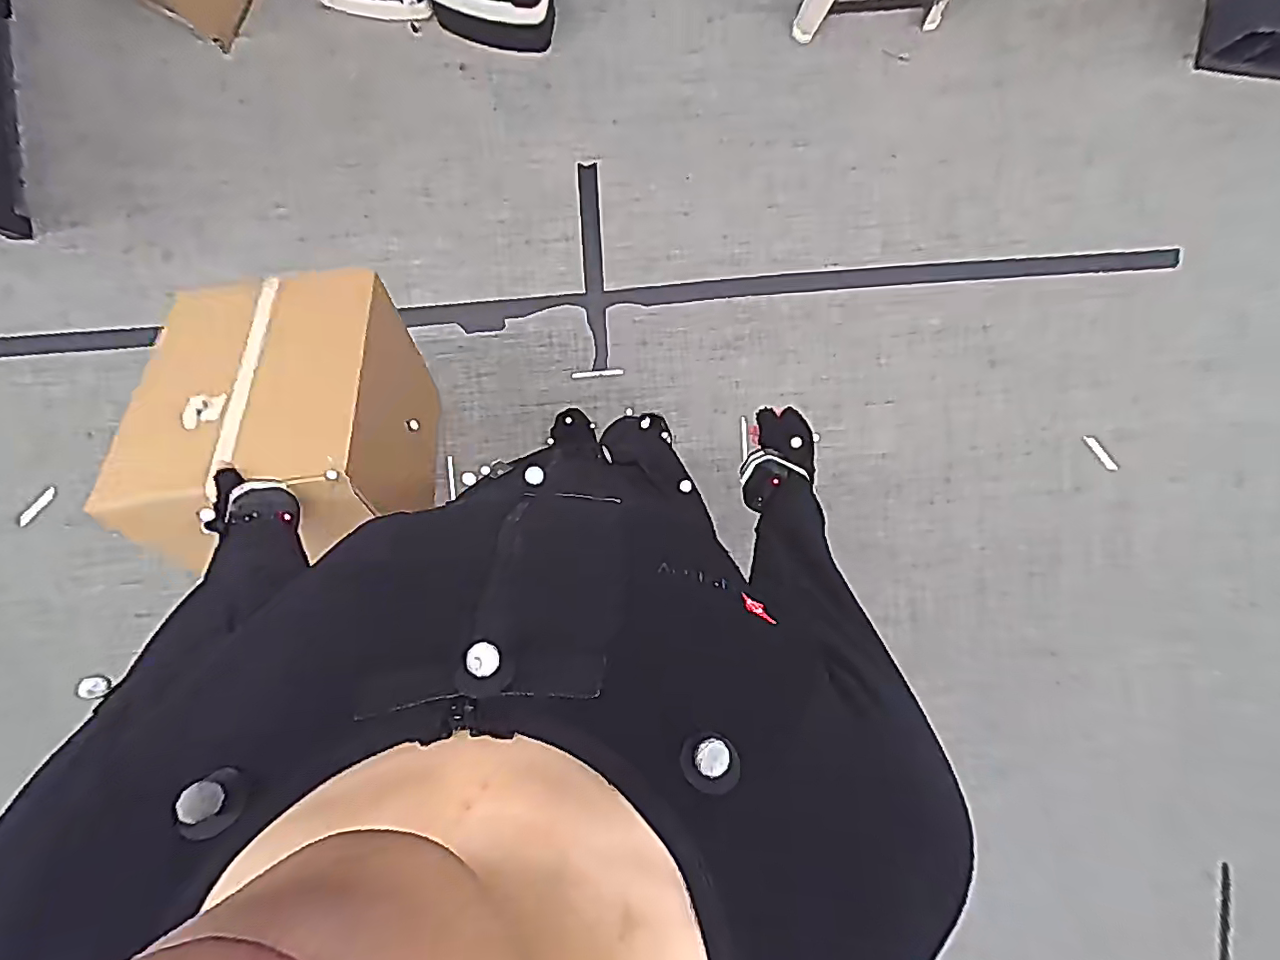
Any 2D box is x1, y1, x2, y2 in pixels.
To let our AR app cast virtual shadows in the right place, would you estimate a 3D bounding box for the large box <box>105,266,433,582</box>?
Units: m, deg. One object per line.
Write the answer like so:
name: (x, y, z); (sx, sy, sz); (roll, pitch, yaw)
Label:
large box: (-0.552, -0.087, 0.907); (0.320, 0.320, 0.408); (-10, 61, -3)
